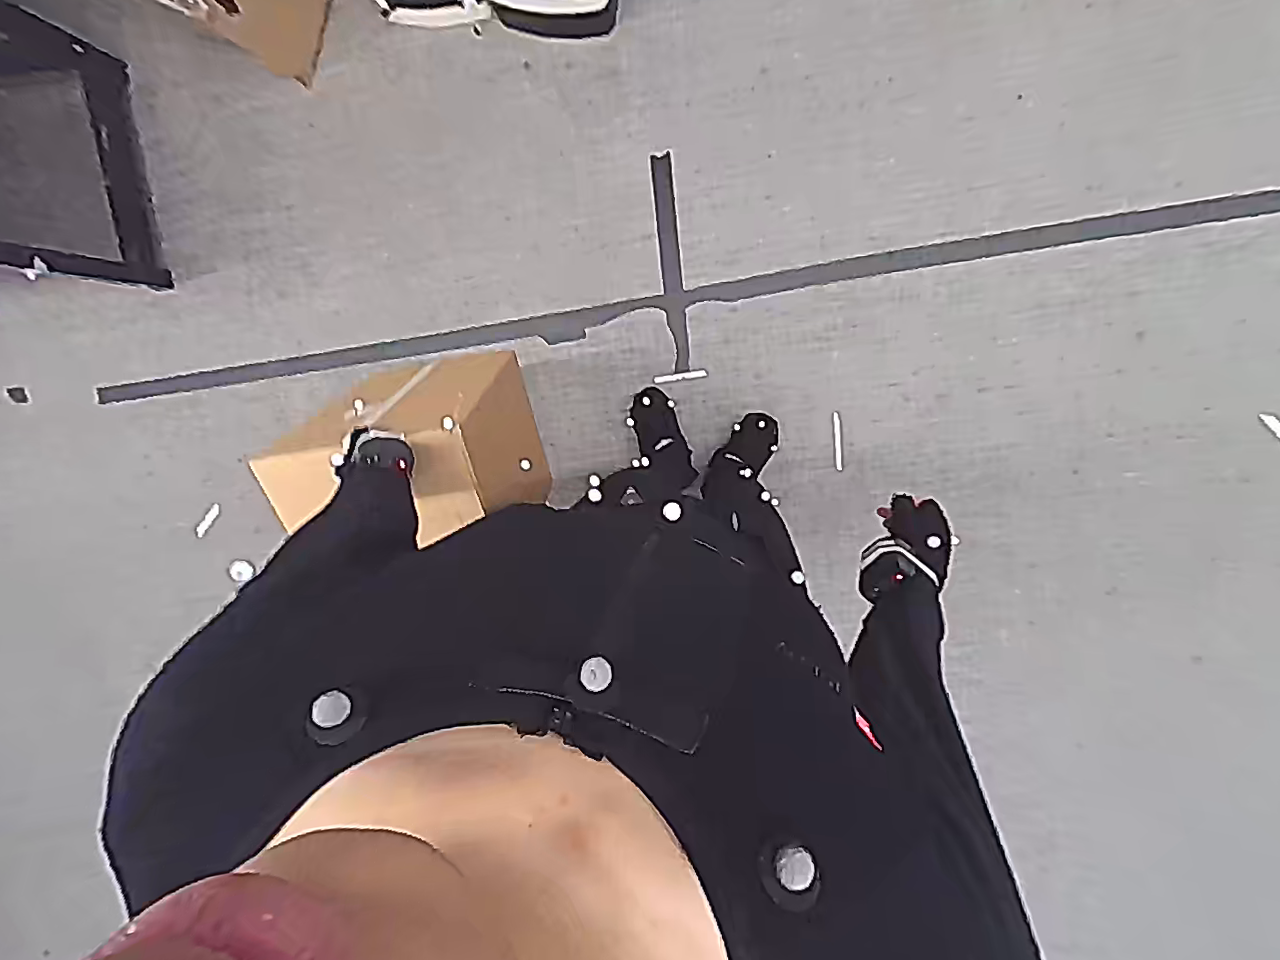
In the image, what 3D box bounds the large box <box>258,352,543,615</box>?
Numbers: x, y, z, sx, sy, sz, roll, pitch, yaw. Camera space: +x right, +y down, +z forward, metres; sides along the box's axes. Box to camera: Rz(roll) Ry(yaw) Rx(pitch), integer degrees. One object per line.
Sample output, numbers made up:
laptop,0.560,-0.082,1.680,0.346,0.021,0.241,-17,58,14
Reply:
large box,-0.381,-0.015,1.003,0.320,0.408,0.320,-9,119,3
